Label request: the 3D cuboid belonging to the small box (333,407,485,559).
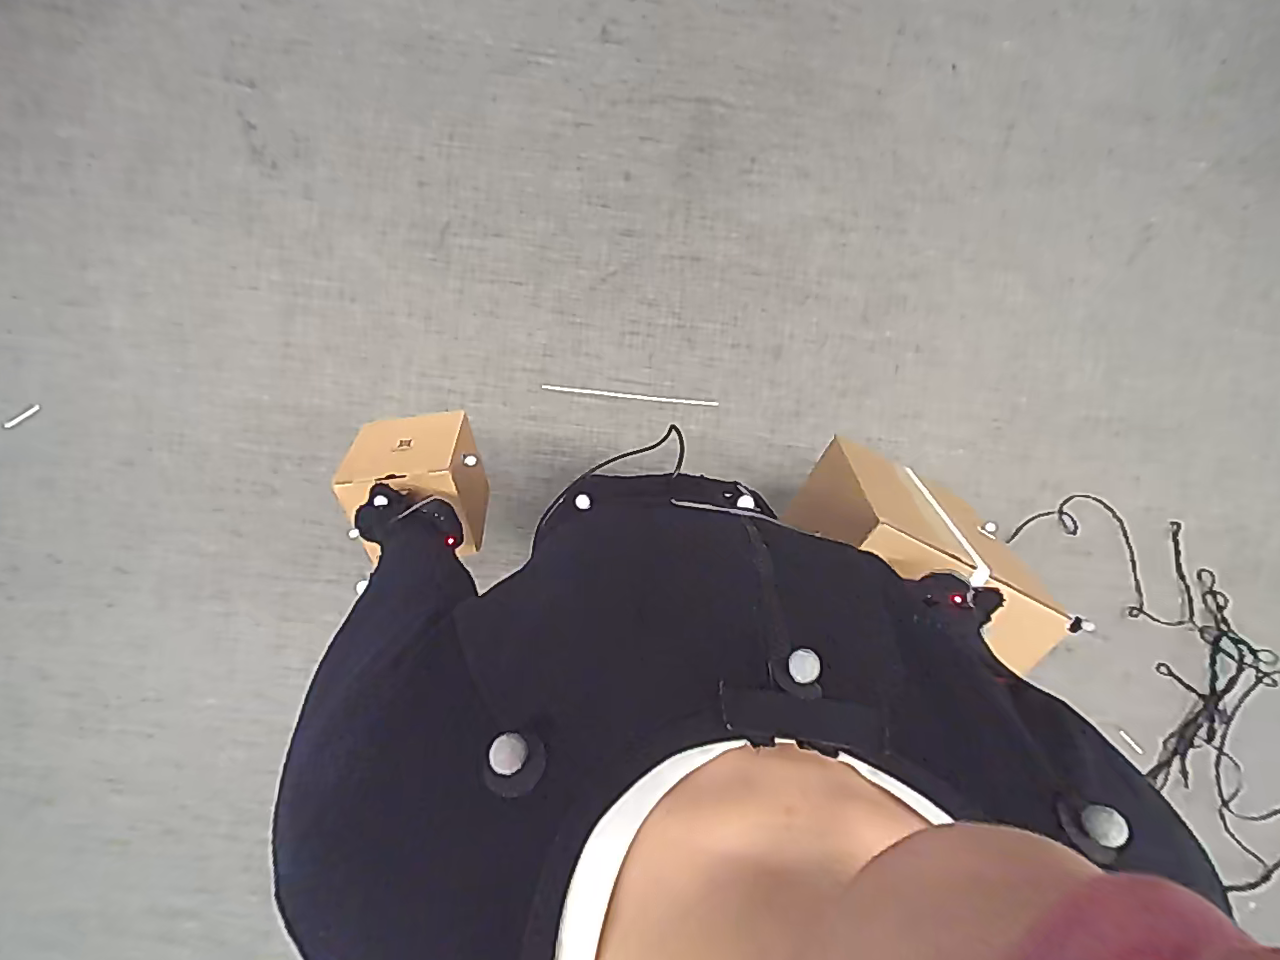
[{"bbox_3d":[-0.357,0.003,0.878,0.168,0.179,0.176,-8,127,-3],"label":"small box"}]
